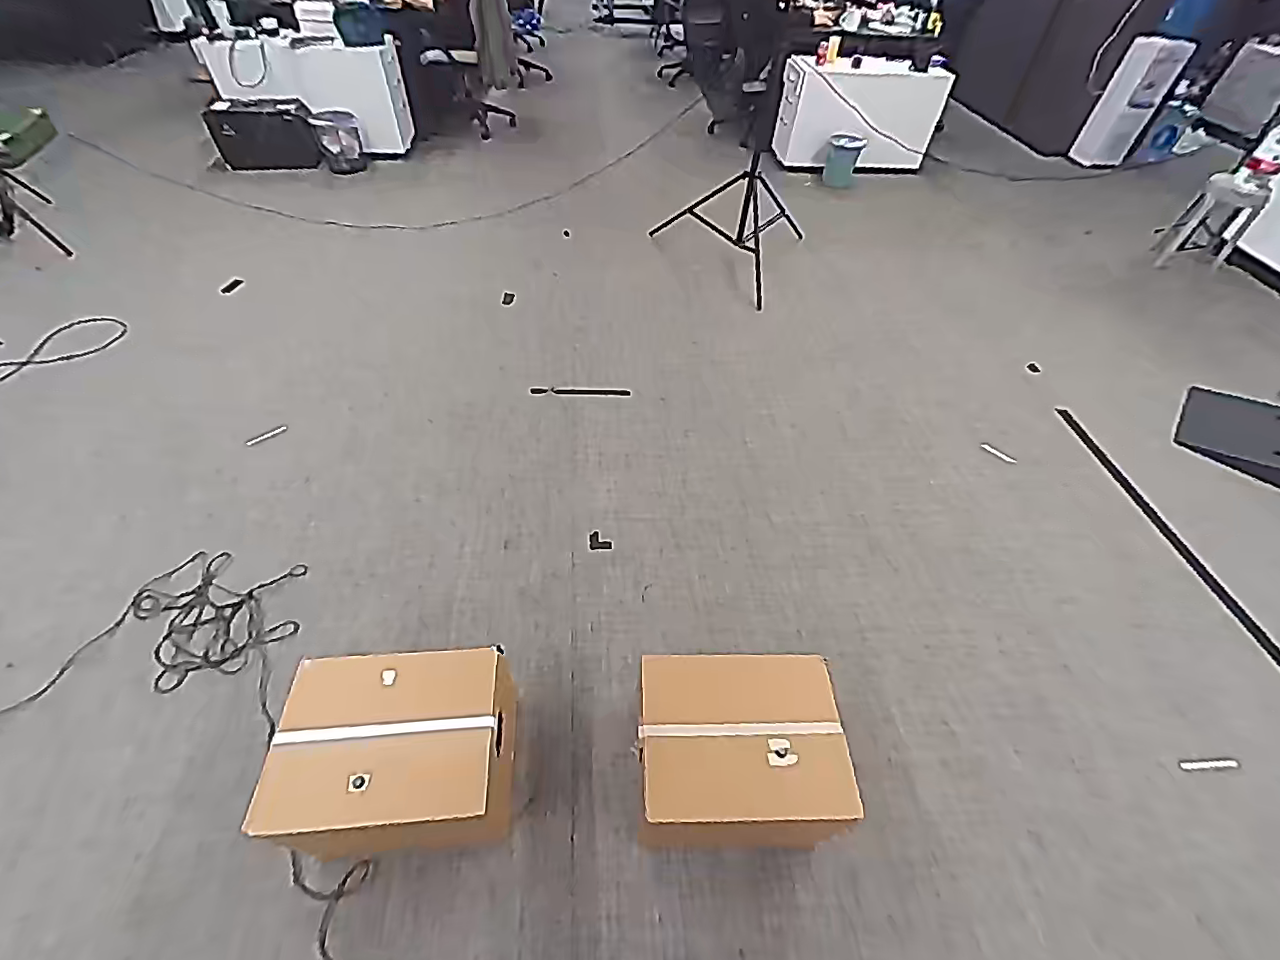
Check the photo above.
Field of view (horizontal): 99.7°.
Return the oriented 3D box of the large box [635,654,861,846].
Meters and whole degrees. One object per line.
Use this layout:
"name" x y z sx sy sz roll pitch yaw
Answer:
"large box" 0.201 0.597 1.198 0.408 0.320 0.320 2 49 -4
